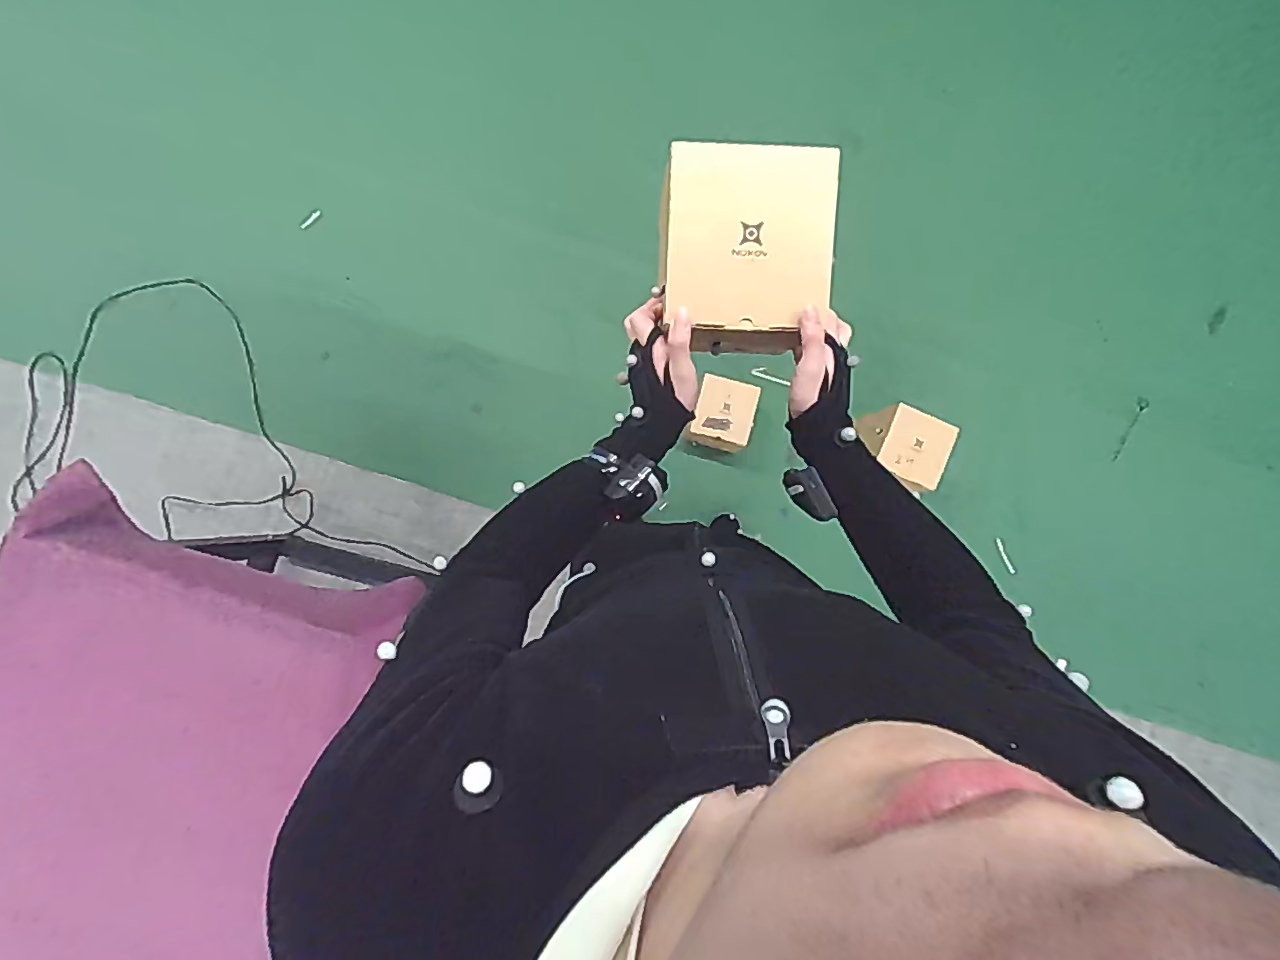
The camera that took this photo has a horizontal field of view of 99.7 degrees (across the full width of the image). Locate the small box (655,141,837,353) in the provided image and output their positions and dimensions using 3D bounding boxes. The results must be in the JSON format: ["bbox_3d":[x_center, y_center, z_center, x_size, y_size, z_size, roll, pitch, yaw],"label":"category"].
[{"bbox_3d":[0.105,-0.245,0.608,0.168,0.176,0.179,1,97,-2],"label":"small box"}]

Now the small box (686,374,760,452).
[{"bbox_3d":[0.237,-0.189,1.587,0.168,0.176,0.179,15,85,0],"label":"small box"}]

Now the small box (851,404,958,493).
[{"bbox_3d":[0.687,-0.076,1.426,0.168,0.176,0.179,24,86,0],"label":"small box"}]
